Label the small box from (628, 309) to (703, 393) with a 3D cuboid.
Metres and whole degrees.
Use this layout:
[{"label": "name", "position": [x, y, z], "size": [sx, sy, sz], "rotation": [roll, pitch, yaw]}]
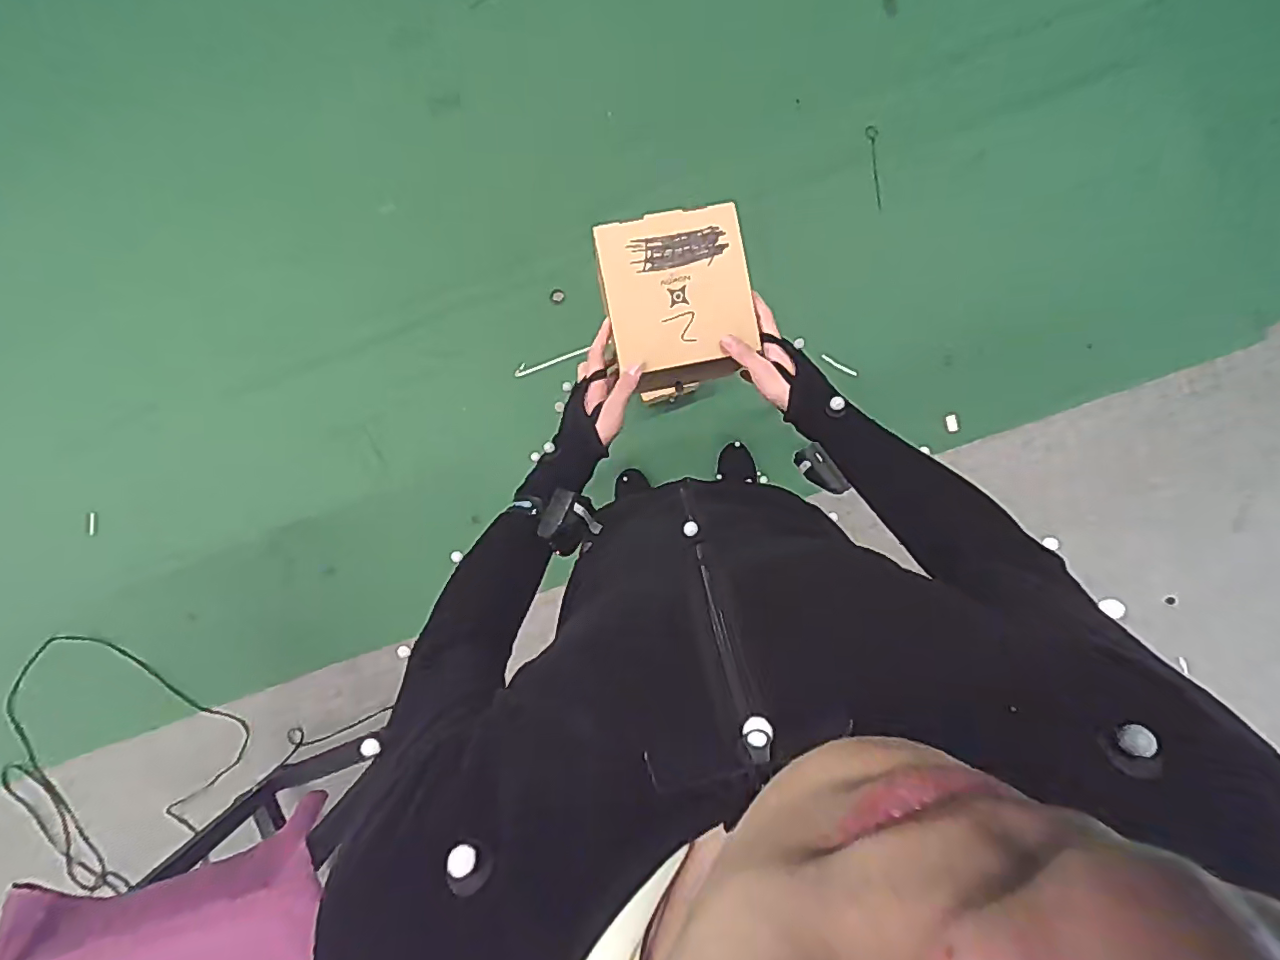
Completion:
[{"label": "small box", "position": [0.070, -0.356, 1.527], "size": [0.168, 0.176, 0.179], "rotation": [-18, 94, 4]}]
